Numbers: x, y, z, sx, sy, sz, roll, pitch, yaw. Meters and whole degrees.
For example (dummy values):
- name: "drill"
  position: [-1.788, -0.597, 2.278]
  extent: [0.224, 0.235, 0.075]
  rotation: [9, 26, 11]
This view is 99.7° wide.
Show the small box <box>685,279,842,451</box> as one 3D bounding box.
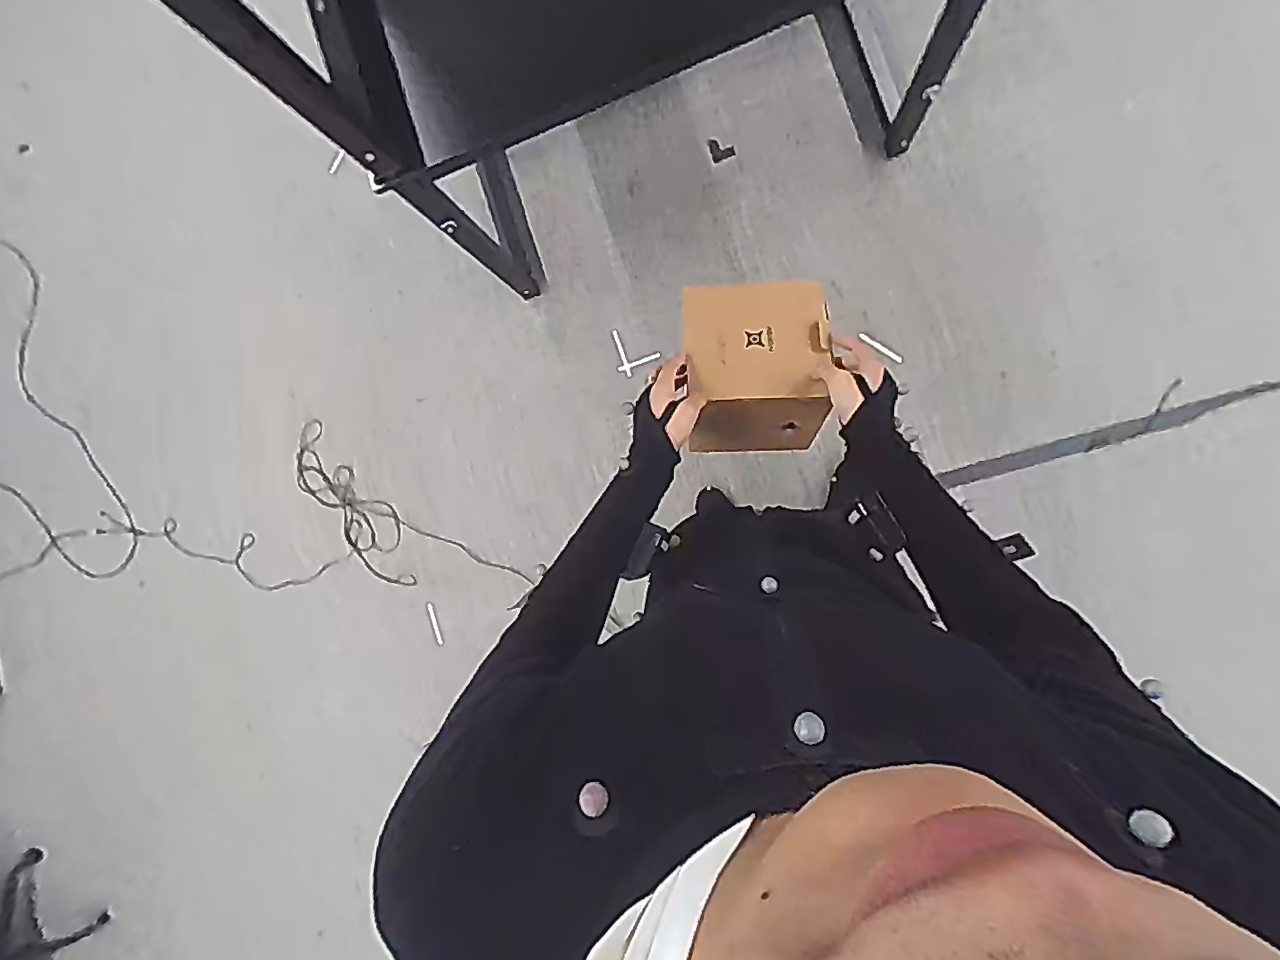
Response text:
- name: "small box"
  position: [0.150, -0.144, 0.720]
  extent: [0.179, 0.176, 0.168]
  rotation: [-1, 71, 4]
